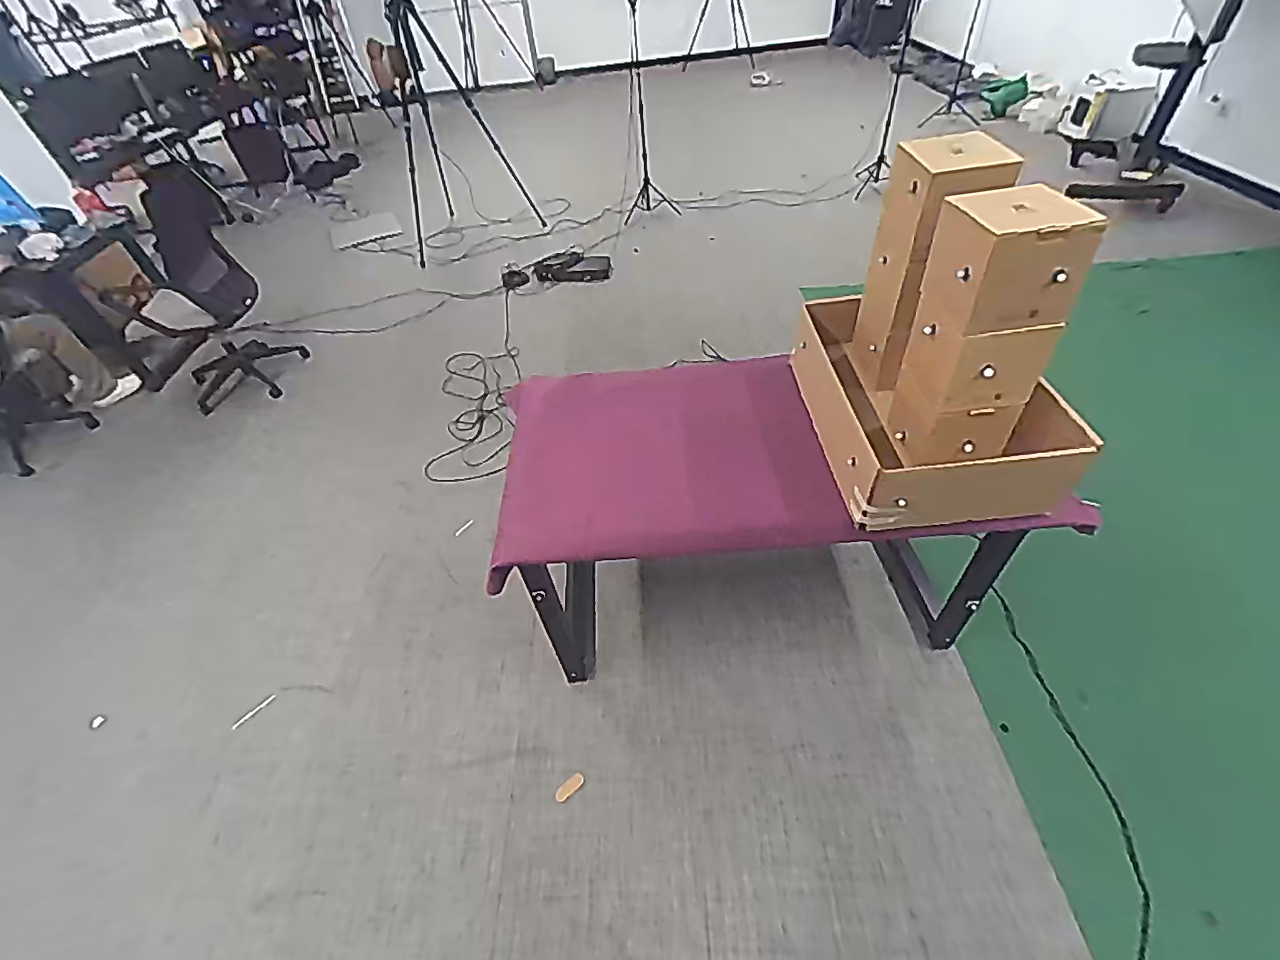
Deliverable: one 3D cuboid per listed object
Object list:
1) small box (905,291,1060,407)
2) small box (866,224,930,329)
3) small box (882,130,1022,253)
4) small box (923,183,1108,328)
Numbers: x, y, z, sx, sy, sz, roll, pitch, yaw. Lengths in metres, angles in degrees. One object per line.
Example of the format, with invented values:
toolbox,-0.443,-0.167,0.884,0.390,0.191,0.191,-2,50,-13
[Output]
small box,0.623,-0.249,1.010,0.168,0.176,0.179,-7,45,3
small box,0.622,-0.459,1.201,0.168,0.176,0.179,-7,48,3
small box,0.606,-0.566,1.077,0.168,0.176,0.179,-6,48,3
small box,0.603,-0.366,0.898,0.168,0.176,0.179,-6,44,2
